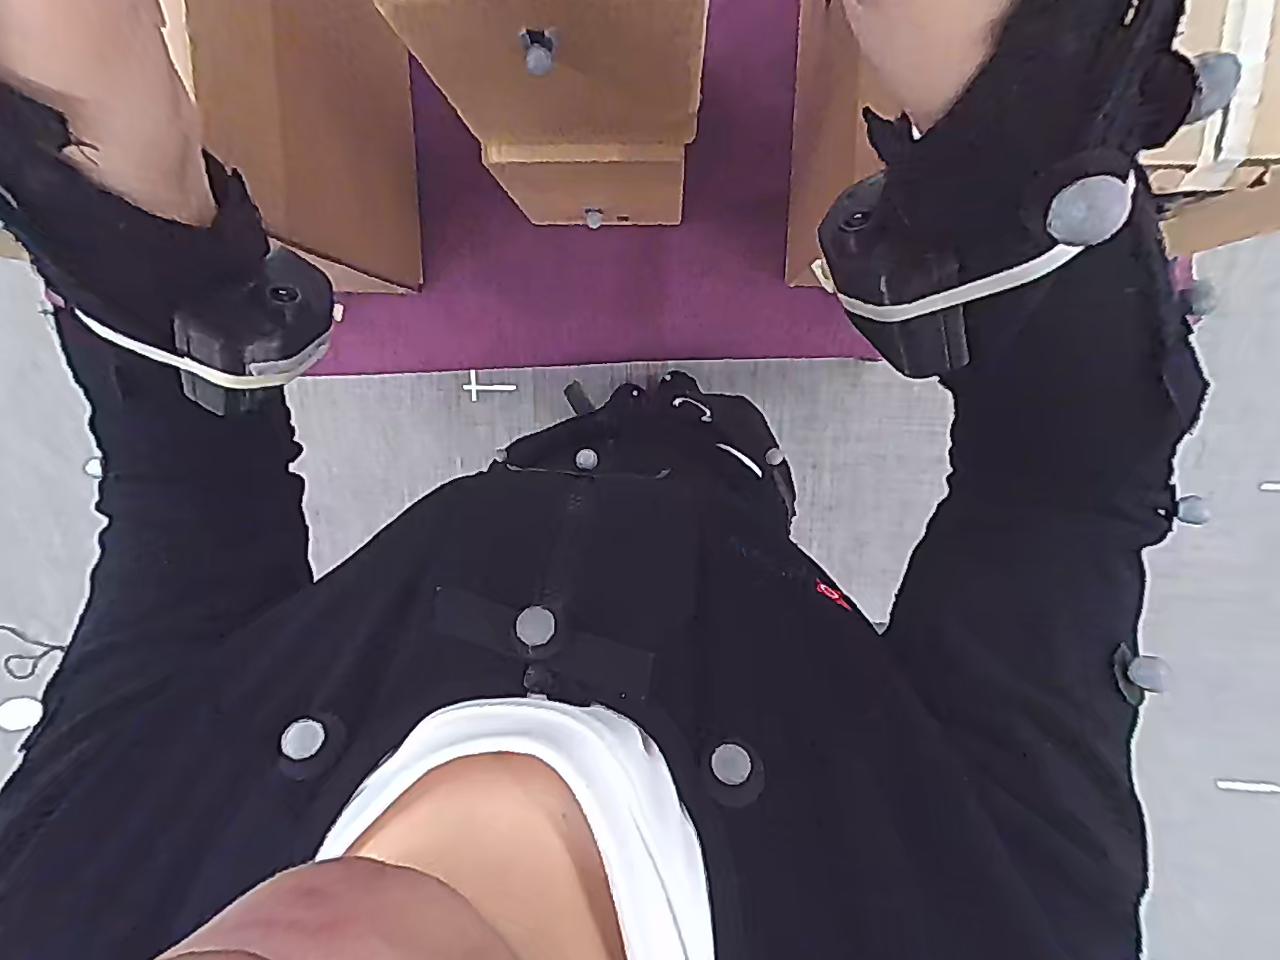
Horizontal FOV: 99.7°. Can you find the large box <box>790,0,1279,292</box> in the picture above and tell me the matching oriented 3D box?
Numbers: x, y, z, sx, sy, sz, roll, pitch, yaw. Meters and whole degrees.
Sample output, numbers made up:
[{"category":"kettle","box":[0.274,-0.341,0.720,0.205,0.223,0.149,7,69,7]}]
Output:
[{"category":"large box","box":[0.299,-0.381,0.406,0.320,0.320,0.408,0,98,3]}]
